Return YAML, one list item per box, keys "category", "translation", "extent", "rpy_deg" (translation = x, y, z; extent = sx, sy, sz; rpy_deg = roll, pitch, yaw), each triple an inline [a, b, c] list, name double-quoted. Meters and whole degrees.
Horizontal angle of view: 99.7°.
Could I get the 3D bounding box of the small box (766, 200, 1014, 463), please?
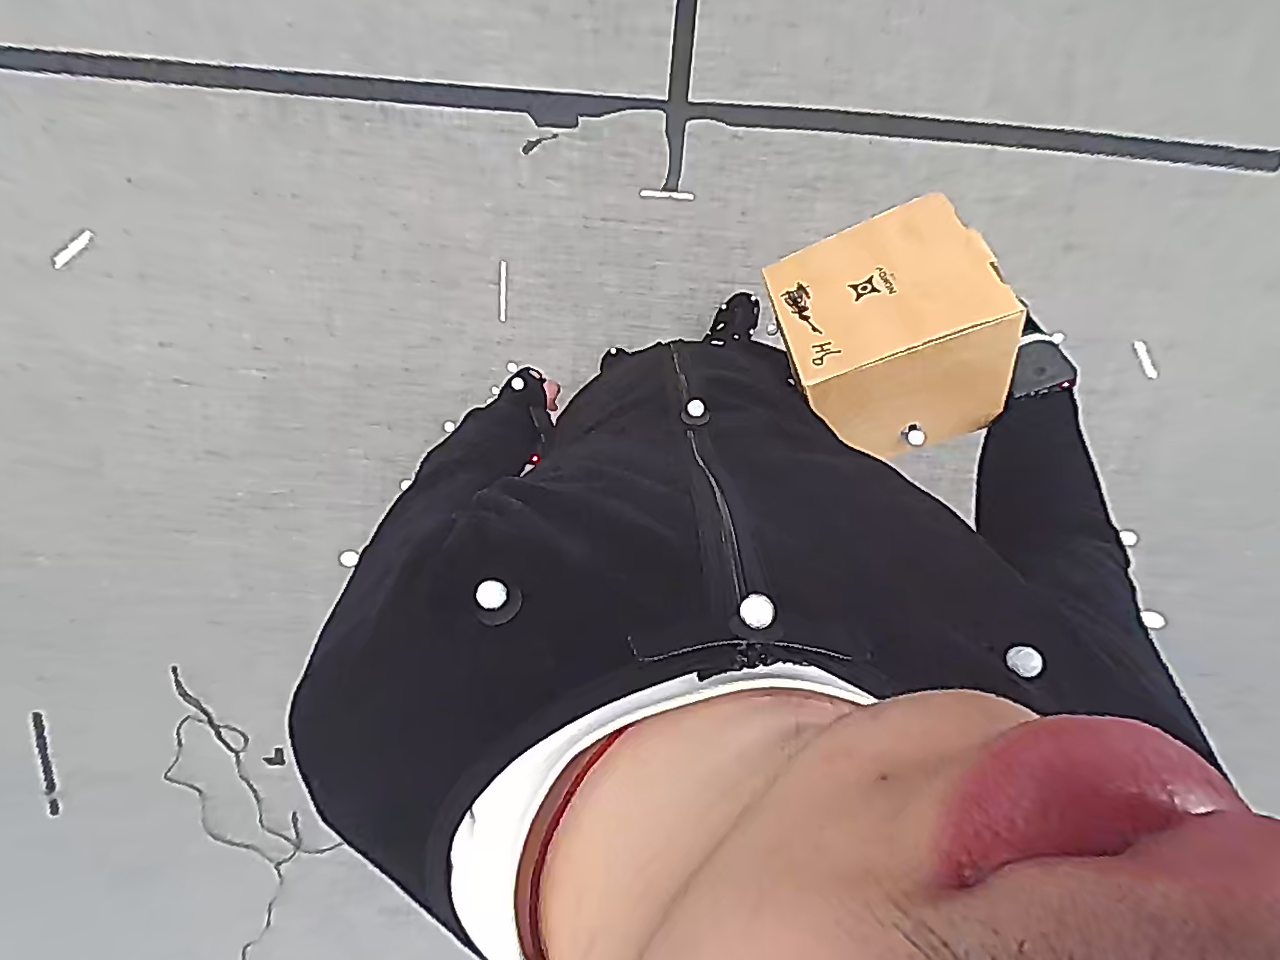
- category: "small box"
  translation: [0.251, -0.144, 0.570]
  extent: [0.179, 0.168, 0.176]
  rpy_deg: [-19, 145, 17]
